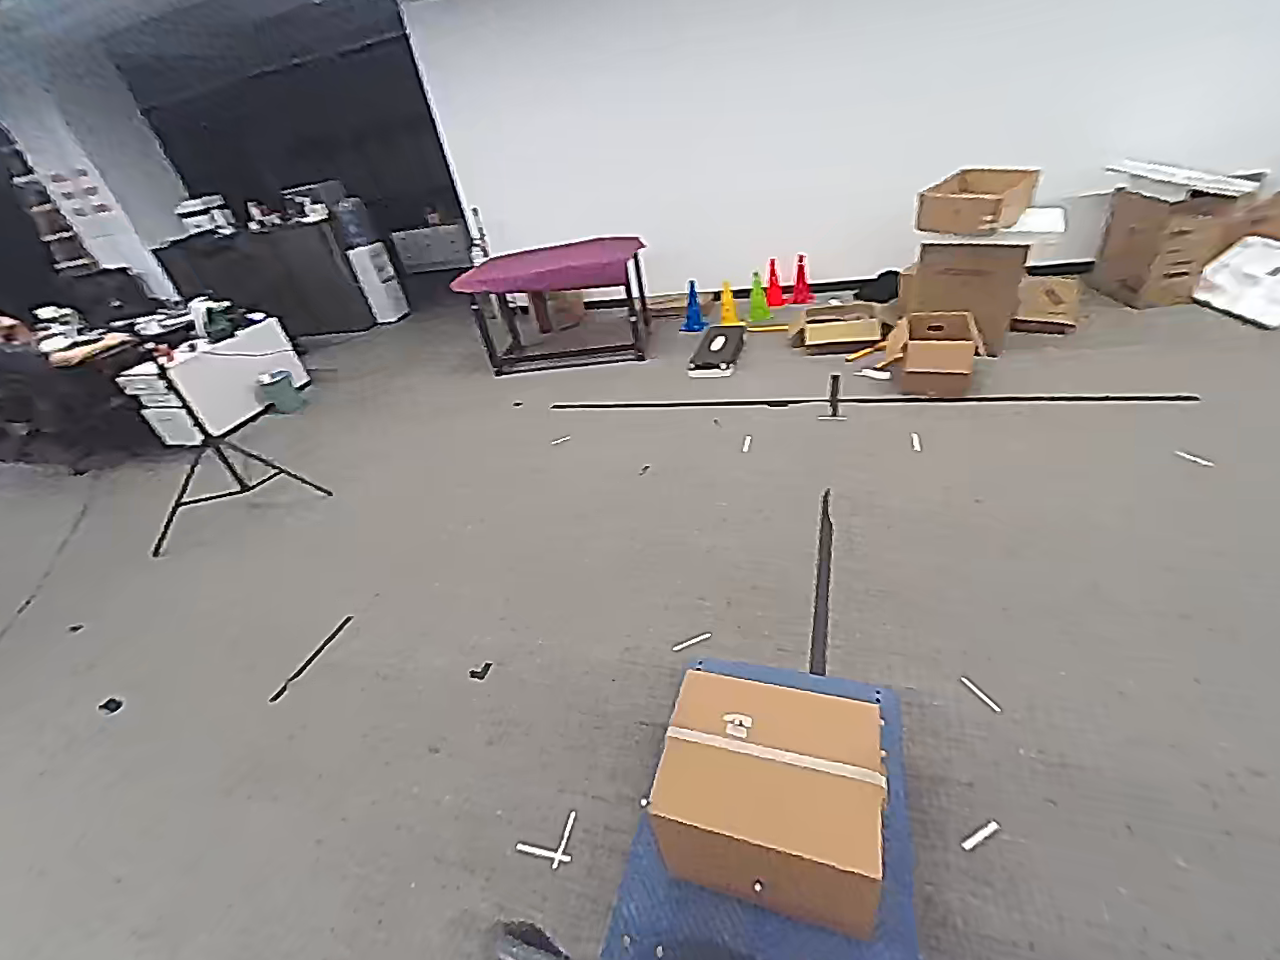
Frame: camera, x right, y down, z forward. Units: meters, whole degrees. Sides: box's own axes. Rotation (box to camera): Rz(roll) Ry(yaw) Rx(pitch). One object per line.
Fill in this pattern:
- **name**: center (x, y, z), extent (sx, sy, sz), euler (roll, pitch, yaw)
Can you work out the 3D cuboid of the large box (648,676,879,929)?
- **large box**: center (0.271, 0.661, 1.138), extent (0.408, 0.320, 0.320), euler (2, 36, 20)
